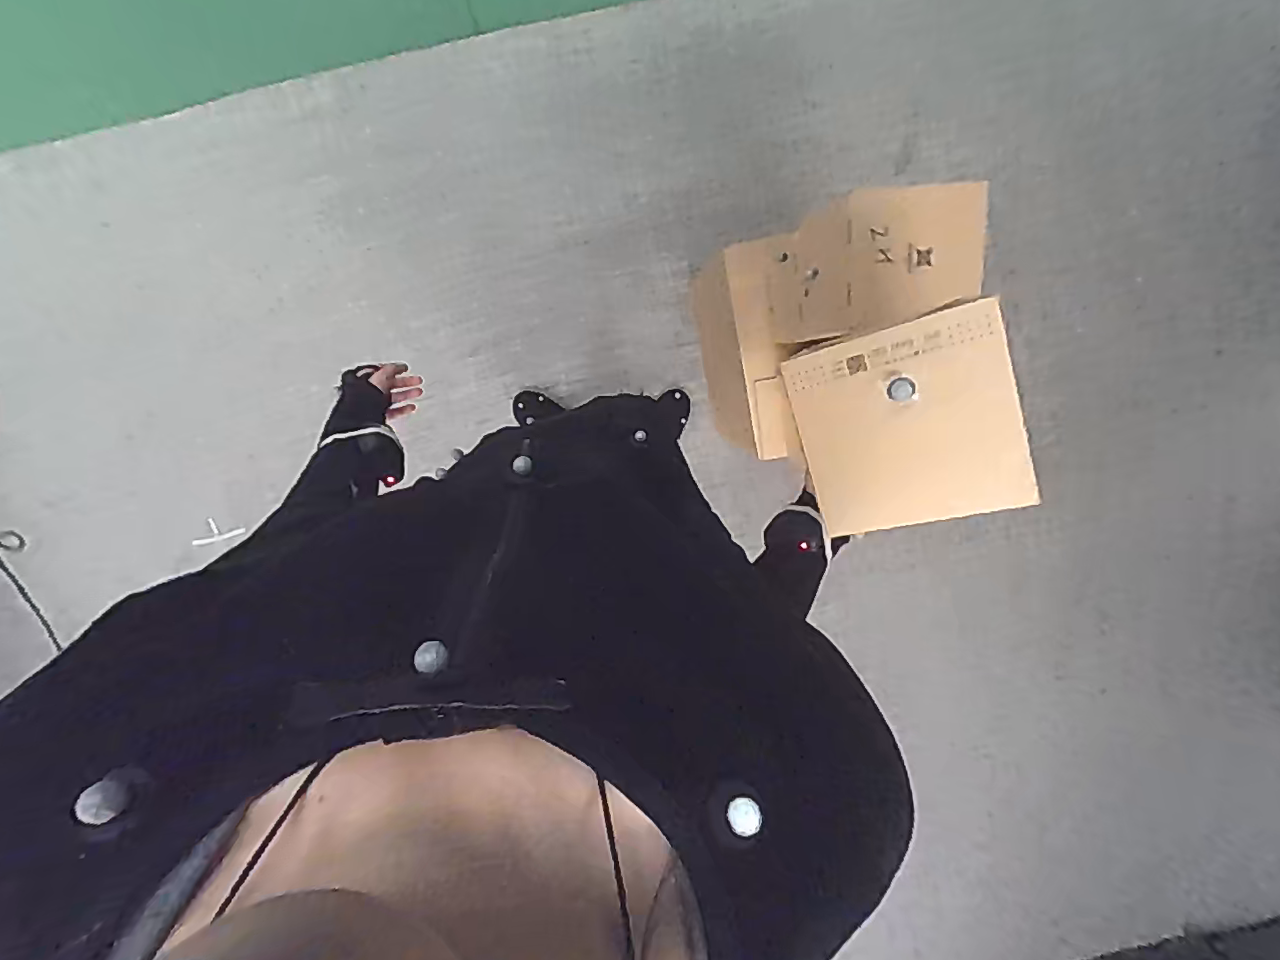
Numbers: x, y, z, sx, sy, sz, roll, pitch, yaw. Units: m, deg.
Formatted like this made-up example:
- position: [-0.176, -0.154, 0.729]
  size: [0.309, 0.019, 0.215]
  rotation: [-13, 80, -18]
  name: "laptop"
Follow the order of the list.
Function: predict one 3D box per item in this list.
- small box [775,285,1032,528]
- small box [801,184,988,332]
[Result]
- position: [0.242, -0.075, 0.517]
  size: [0.168, 0.179, 0.176]
  rotation: [-15, 100, 28]
  name: "small box"
- position: [0.341, -0.298, 0.755]
  size: [0.179, 0.176, 0.168]
  rotation: [-5, 103, -2]
  name: "small box"
